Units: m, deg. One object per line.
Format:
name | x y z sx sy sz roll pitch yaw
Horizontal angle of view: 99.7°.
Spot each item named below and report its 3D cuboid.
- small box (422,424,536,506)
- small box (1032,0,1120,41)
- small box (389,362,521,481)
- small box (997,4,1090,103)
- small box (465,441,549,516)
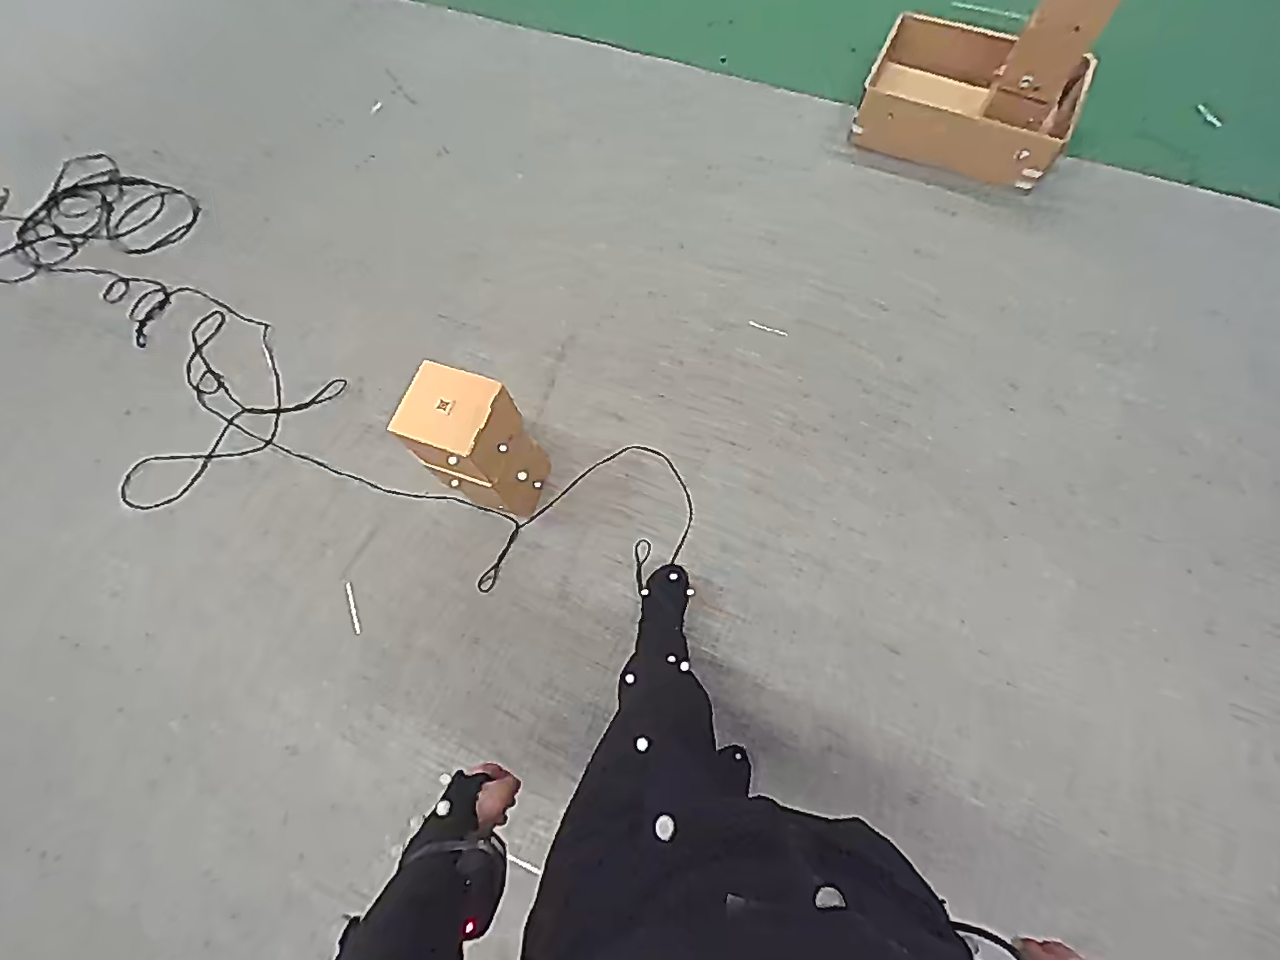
small box | -0.369 -0.054 1.272 0.179 0.176 0.168 18 73 9
small box | 1.156 -1.290 1.395 0.168 0.176 0.179 23 73 12
small box | -0.372 -0.113 1.121 0.179 0.176 0.168 17 72 8
small box | 1.168 -1.237 1.550 0.168 0.176 0.179 25 76 13
small box | -0.357 -0.015 1.432 0.179 0.176 0.168 14 71 9
